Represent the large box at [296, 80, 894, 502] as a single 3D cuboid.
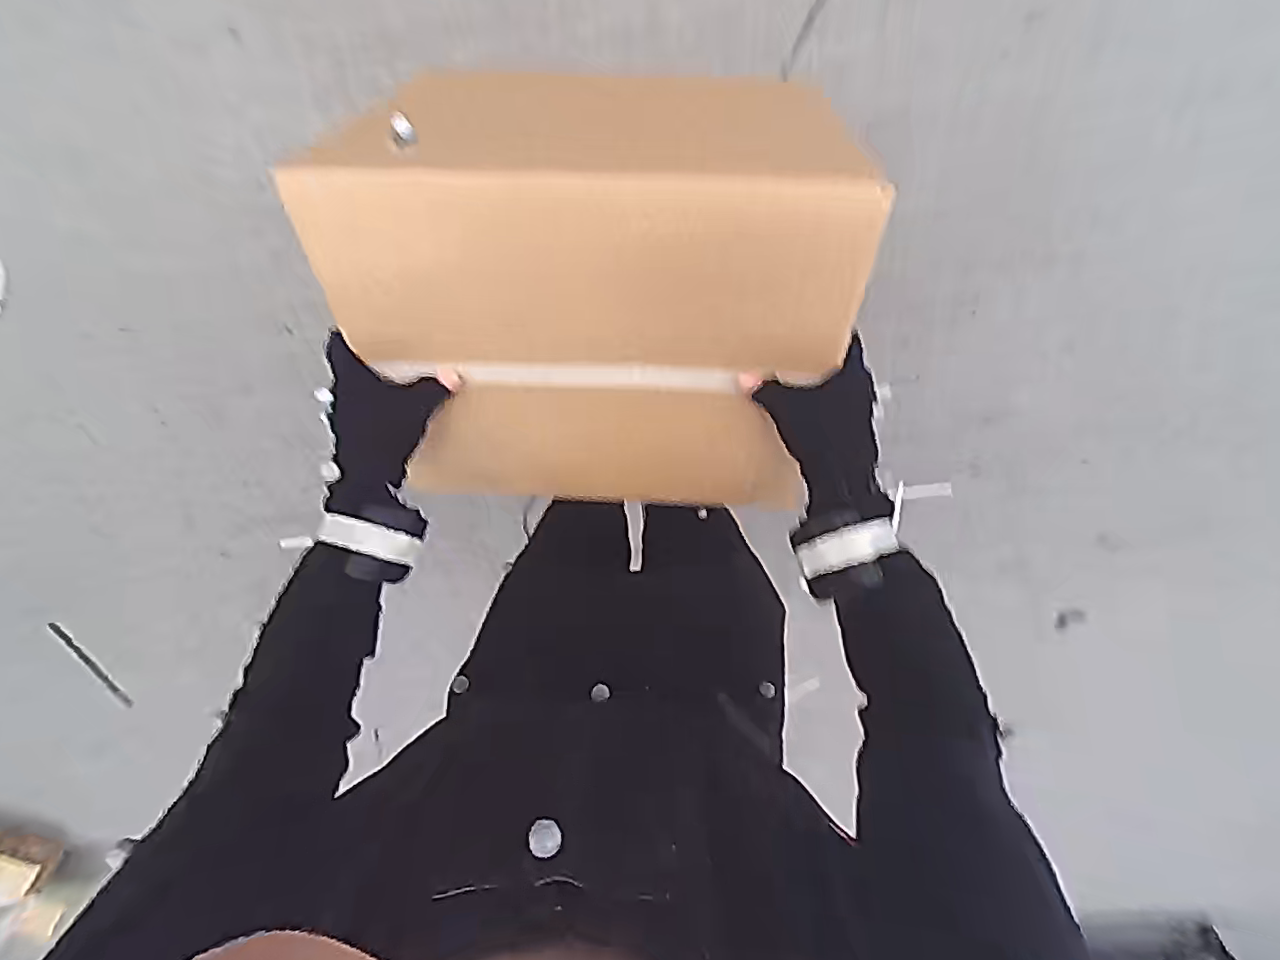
[{"bbox_3d":[-0.028,-0.198,0.561,0.408,0.320,0.320,3,138,2],"label":"large box"}]
